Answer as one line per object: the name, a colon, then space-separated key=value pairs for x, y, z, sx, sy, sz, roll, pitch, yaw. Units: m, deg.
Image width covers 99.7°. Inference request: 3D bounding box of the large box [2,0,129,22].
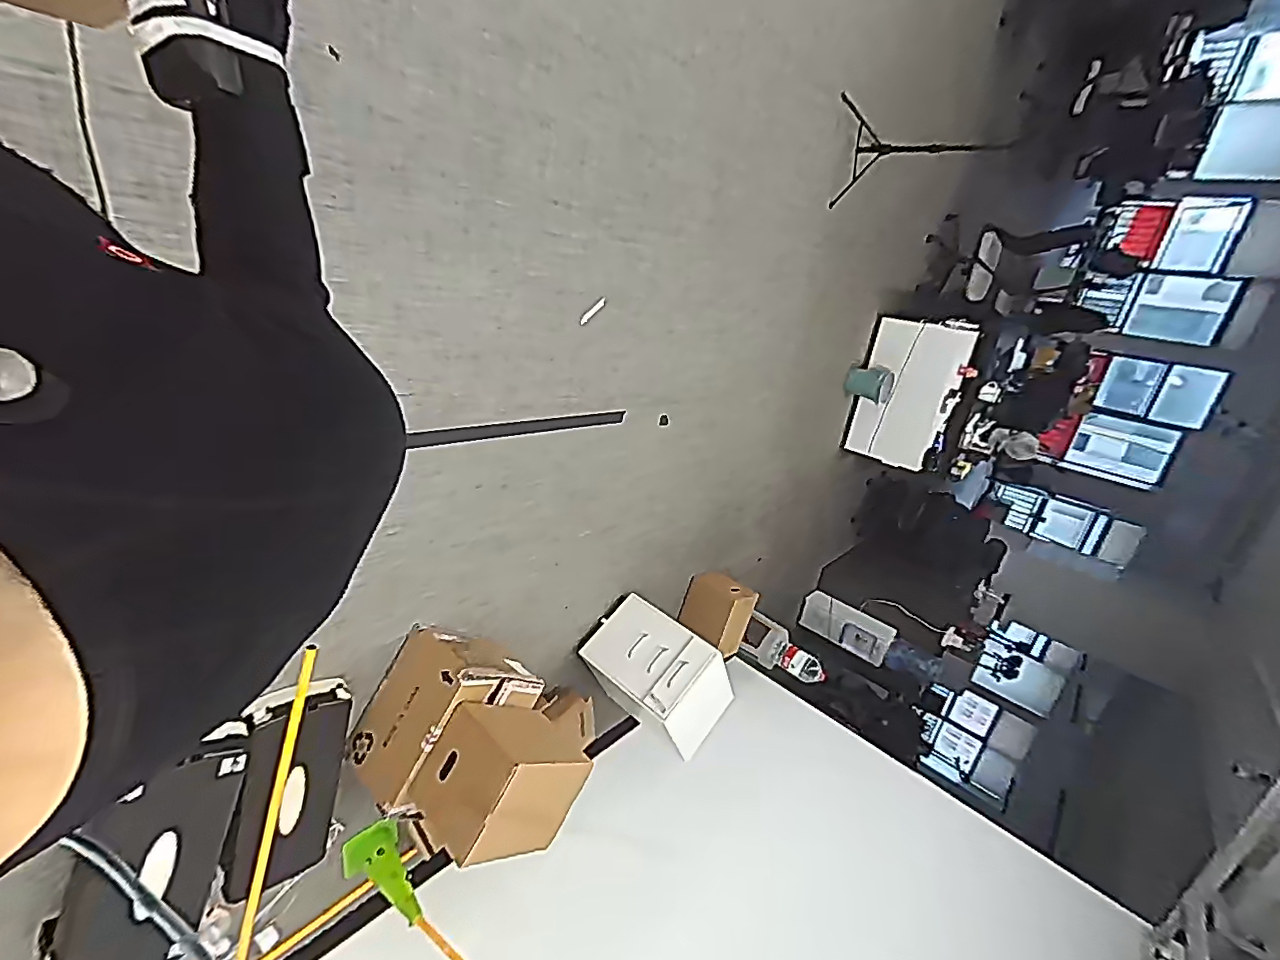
large box: x=-0.533 y=-0.484 z=0.247 sx=0.408 sy=0.320 sz=0.320 roll=-20 pitch=127 yaw=-47
